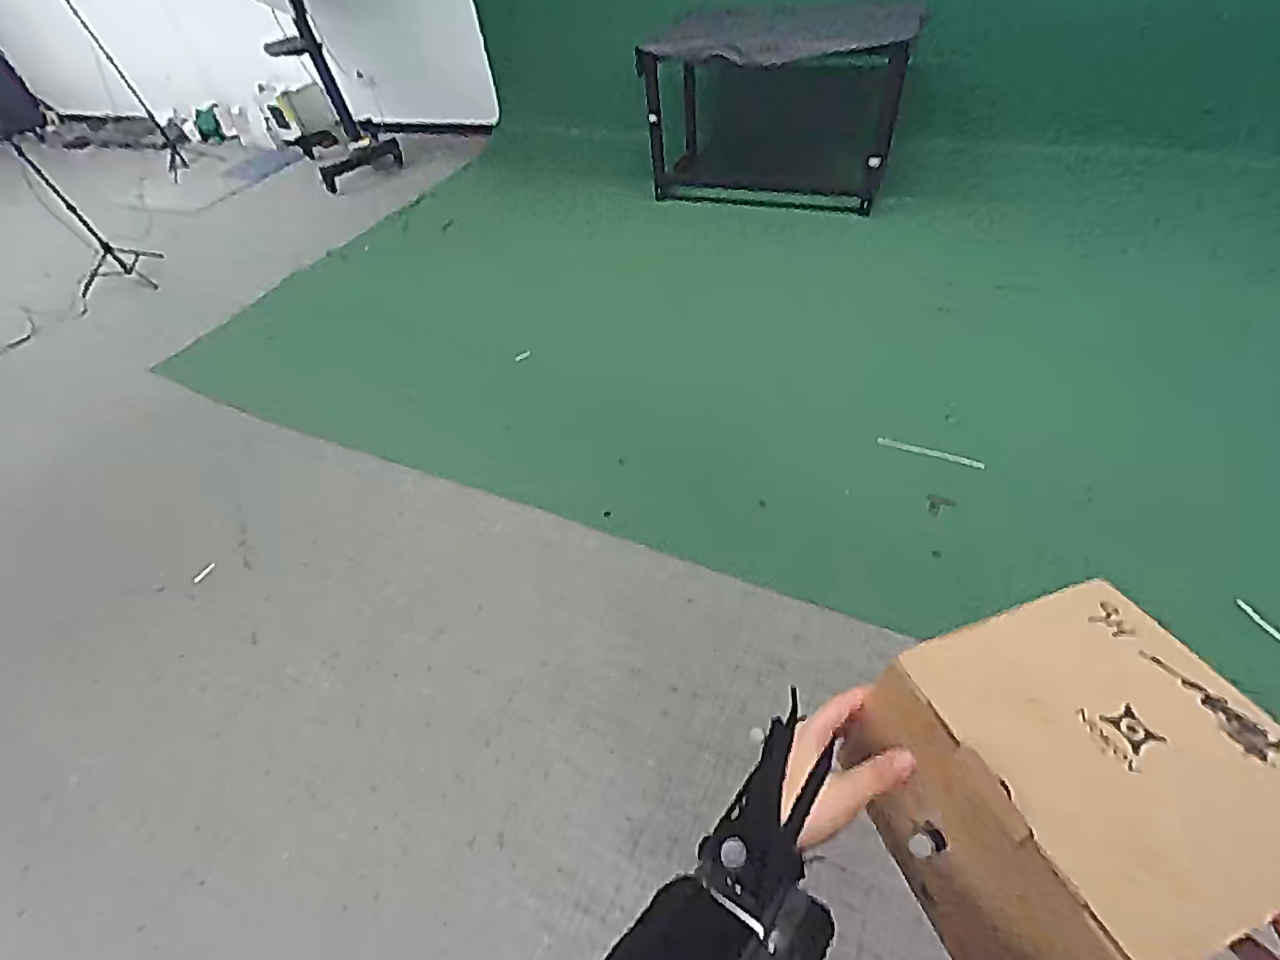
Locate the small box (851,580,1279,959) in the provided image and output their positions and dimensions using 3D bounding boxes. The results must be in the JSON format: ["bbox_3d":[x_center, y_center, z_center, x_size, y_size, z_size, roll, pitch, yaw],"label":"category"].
[{"bbox_3d":[0.265,0.202,0.364,0.179,0.176,0.168,-15,45,-12],"label":"small box"}]
